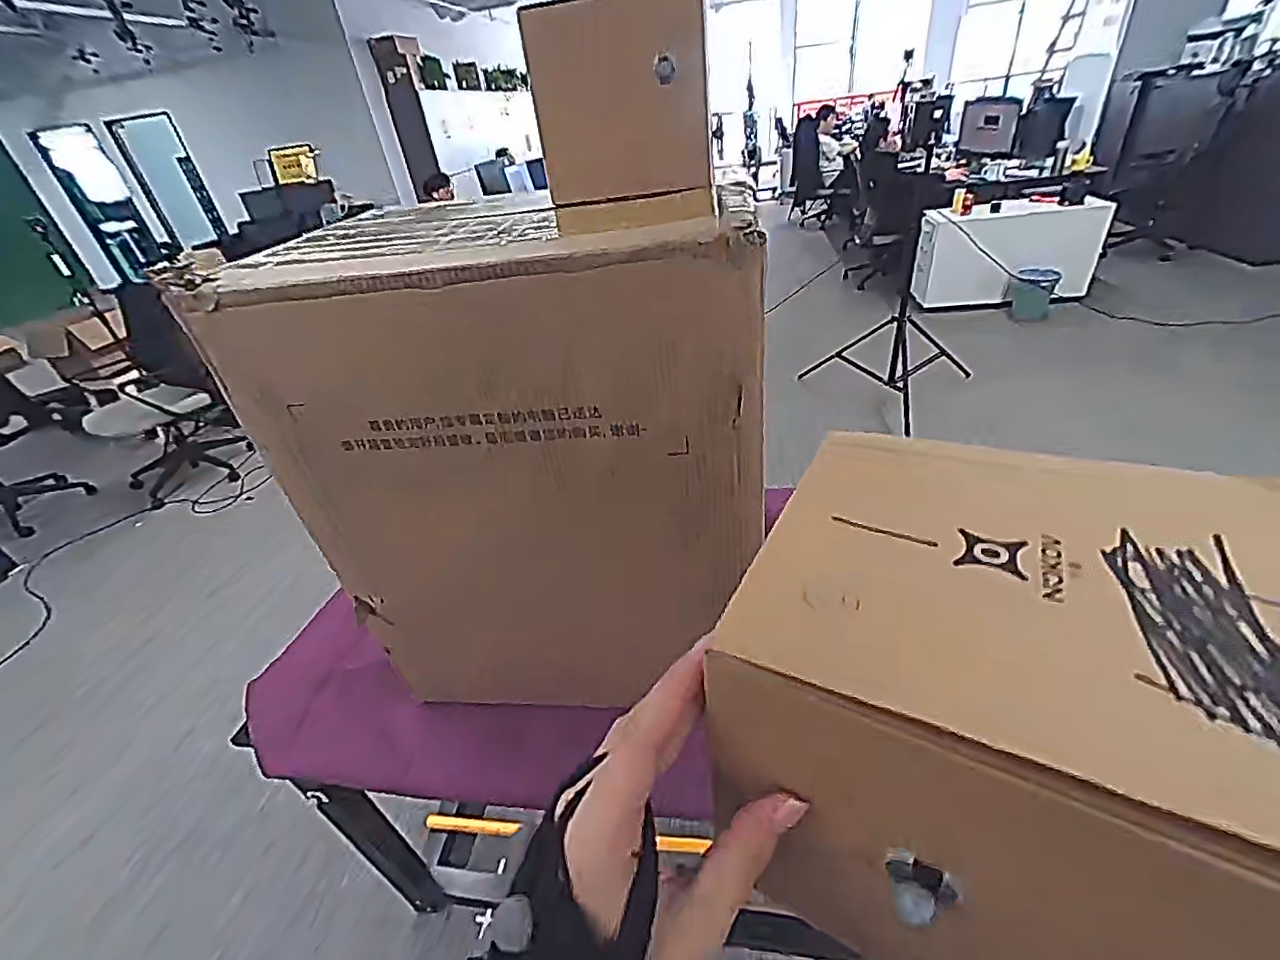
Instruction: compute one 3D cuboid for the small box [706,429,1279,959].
[{"bbox_3d":[0.145,0.100,0.238,0.179,0.176,0.168,13,38,29],"label":"small box"}]
